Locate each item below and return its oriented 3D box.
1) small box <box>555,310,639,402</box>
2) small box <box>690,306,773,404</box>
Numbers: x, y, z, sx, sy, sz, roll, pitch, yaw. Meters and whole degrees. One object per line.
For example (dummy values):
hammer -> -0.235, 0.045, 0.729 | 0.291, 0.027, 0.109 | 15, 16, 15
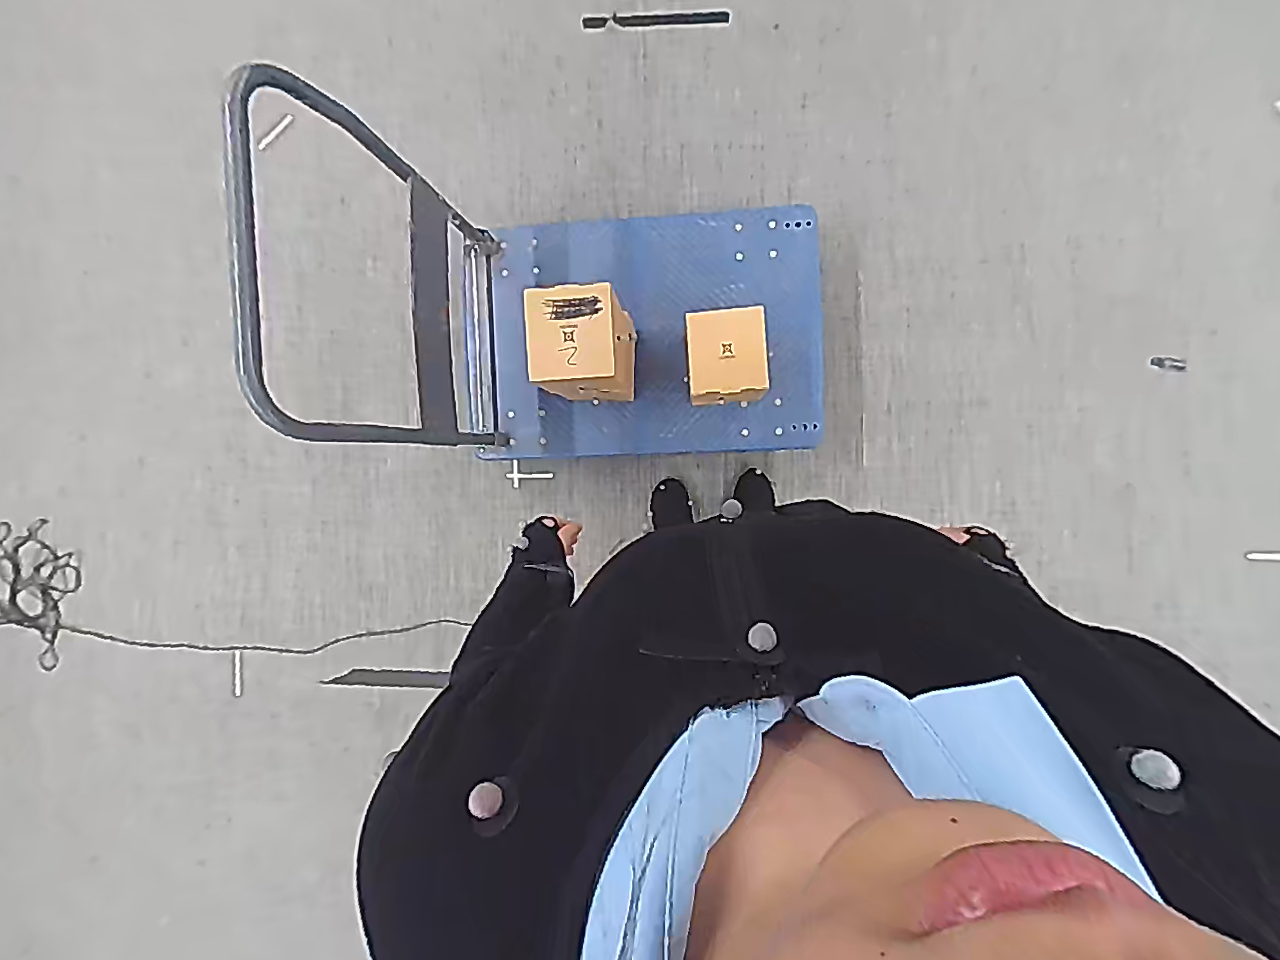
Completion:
small box -> -0.094, -0.278, 1.242 | 0.168, 0.176, 0.179 | 2, 92, 6
small box -> 0.200, -0.274, 1.217 | 0.168, 0.176, 0.179 | -5, 91, 6
